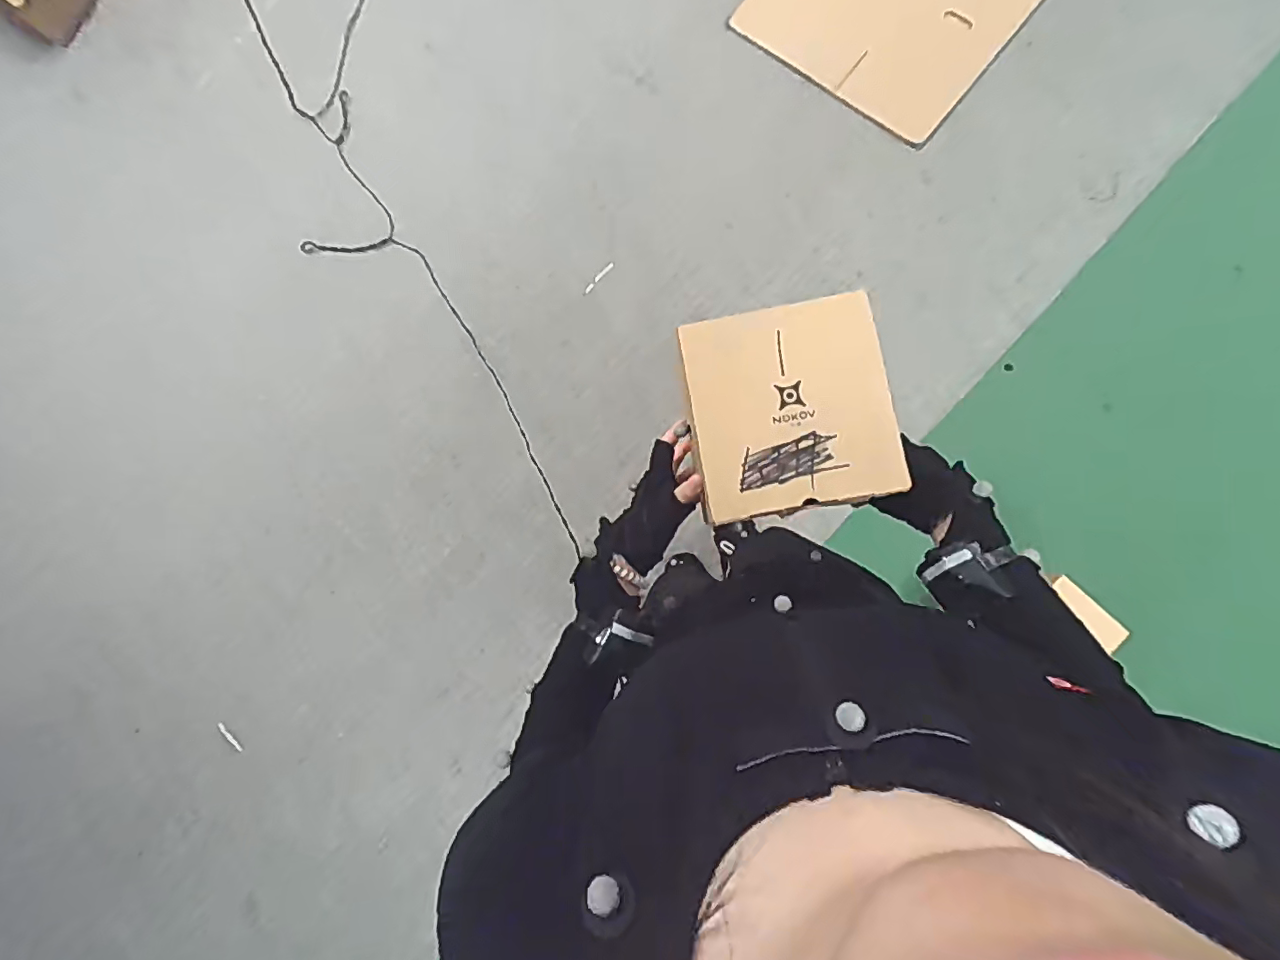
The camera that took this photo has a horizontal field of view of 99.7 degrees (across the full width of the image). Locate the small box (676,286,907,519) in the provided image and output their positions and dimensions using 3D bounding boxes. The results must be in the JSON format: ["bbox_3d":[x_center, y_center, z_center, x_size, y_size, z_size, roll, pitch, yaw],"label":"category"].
[{"bbox_3d":[0.132,-0.061,0.535,0.168,0.176,0.179,-11,85,3],"label":"small box"}]

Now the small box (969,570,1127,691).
[{"bbox_3d":[0.860,0.310,1.162,0.179,0.176,0.168,-45,82,0],"label":"small box"}]
